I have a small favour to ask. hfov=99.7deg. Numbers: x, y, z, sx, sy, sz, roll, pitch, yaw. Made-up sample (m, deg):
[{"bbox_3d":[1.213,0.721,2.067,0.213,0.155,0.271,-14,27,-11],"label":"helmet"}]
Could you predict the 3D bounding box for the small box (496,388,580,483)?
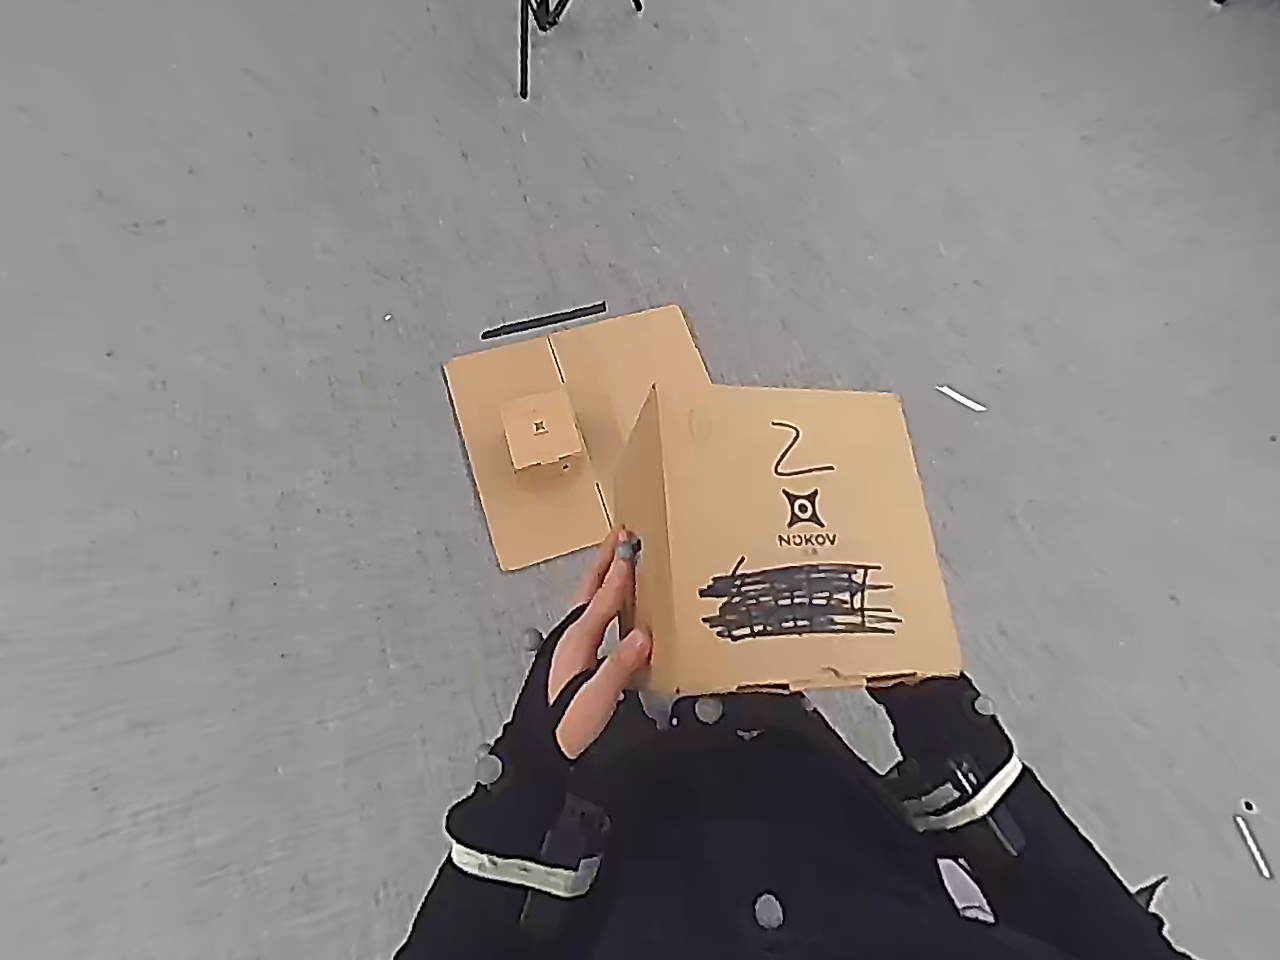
[{"bbox_3d":[-0.249,-0.102,1.356,0.168,0.176,0.179,-16,76,-12],"label":"small box"}]
